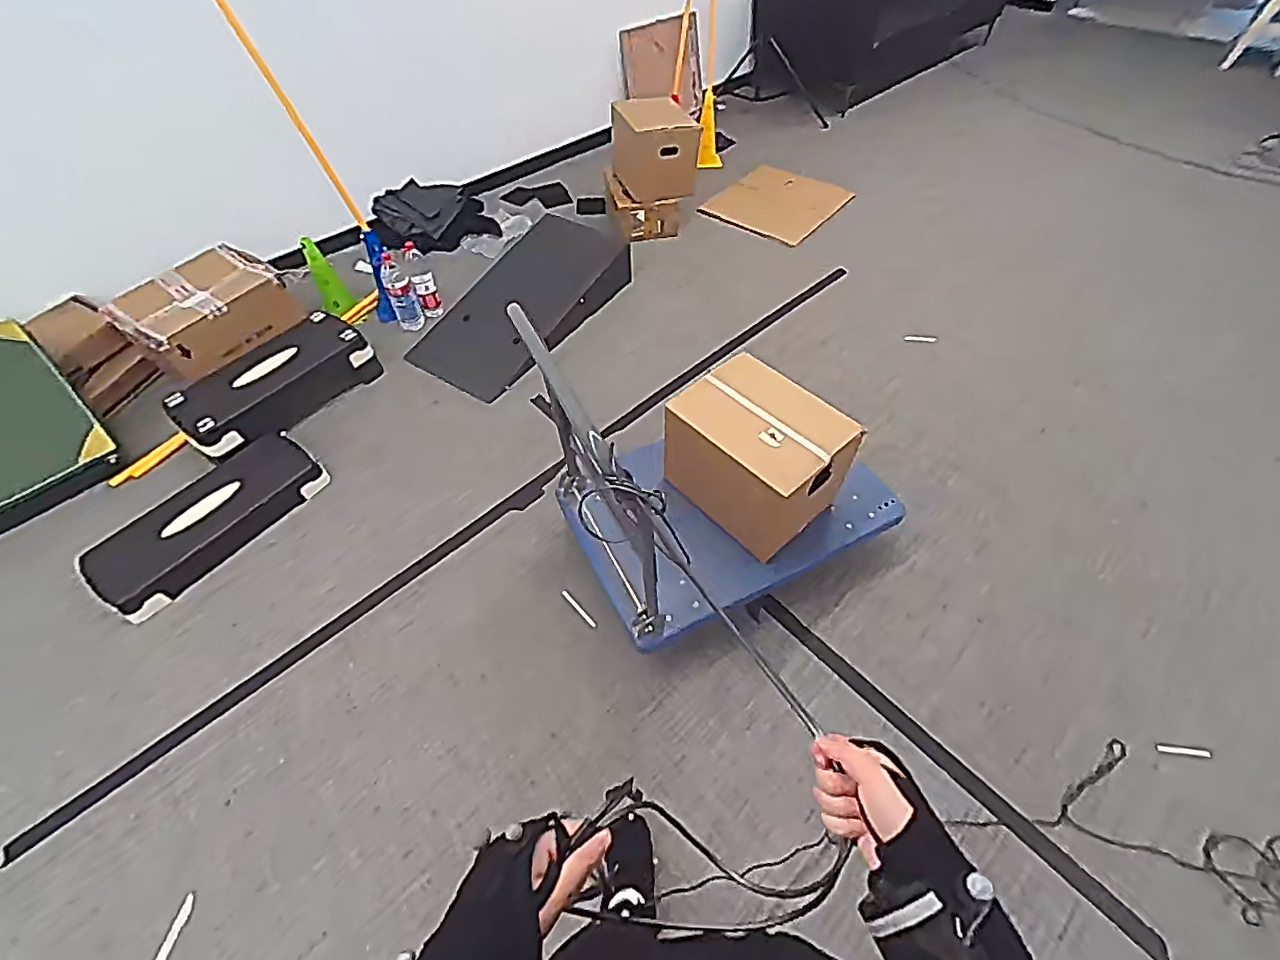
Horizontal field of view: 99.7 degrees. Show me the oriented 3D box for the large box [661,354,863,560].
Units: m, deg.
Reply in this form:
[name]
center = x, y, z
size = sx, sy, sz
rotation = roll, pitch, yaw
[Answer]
[large box]
center = 0.304, -0.066, 1.470
size = 0.320, 0.320, 0.408
rotation = -37, 61, -23
